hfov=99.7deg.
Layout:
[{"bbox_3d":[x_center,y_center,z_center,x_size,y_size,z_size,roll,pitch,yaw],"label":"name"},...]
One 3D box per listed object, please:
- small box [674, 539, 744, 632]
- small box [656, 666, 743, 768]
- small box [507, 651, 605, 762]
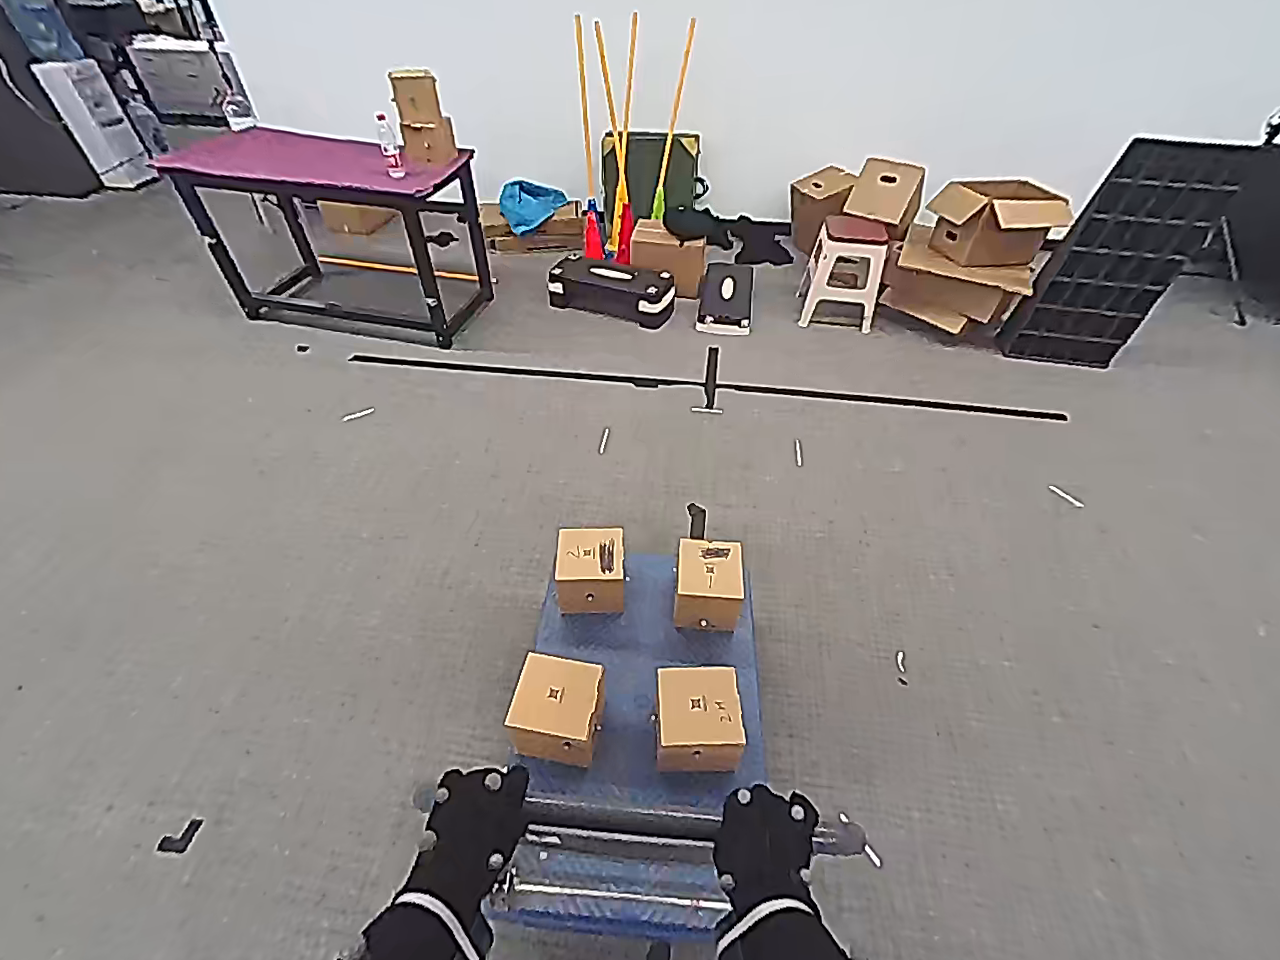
[{"bbox_3d":[0.182,0.284,1.457,0.168,0.176,0.179,4,47,3],"label":"small box"},{"bbox_3d":[0.125,0.533,1.211,0.179,0.176,0.168,0,46,-1],"label":"small box"},{"bbox_3d":[-0.182,0.514,1.221,0.179,0.176,0.168,9,45,5],"label":"small box"}]
